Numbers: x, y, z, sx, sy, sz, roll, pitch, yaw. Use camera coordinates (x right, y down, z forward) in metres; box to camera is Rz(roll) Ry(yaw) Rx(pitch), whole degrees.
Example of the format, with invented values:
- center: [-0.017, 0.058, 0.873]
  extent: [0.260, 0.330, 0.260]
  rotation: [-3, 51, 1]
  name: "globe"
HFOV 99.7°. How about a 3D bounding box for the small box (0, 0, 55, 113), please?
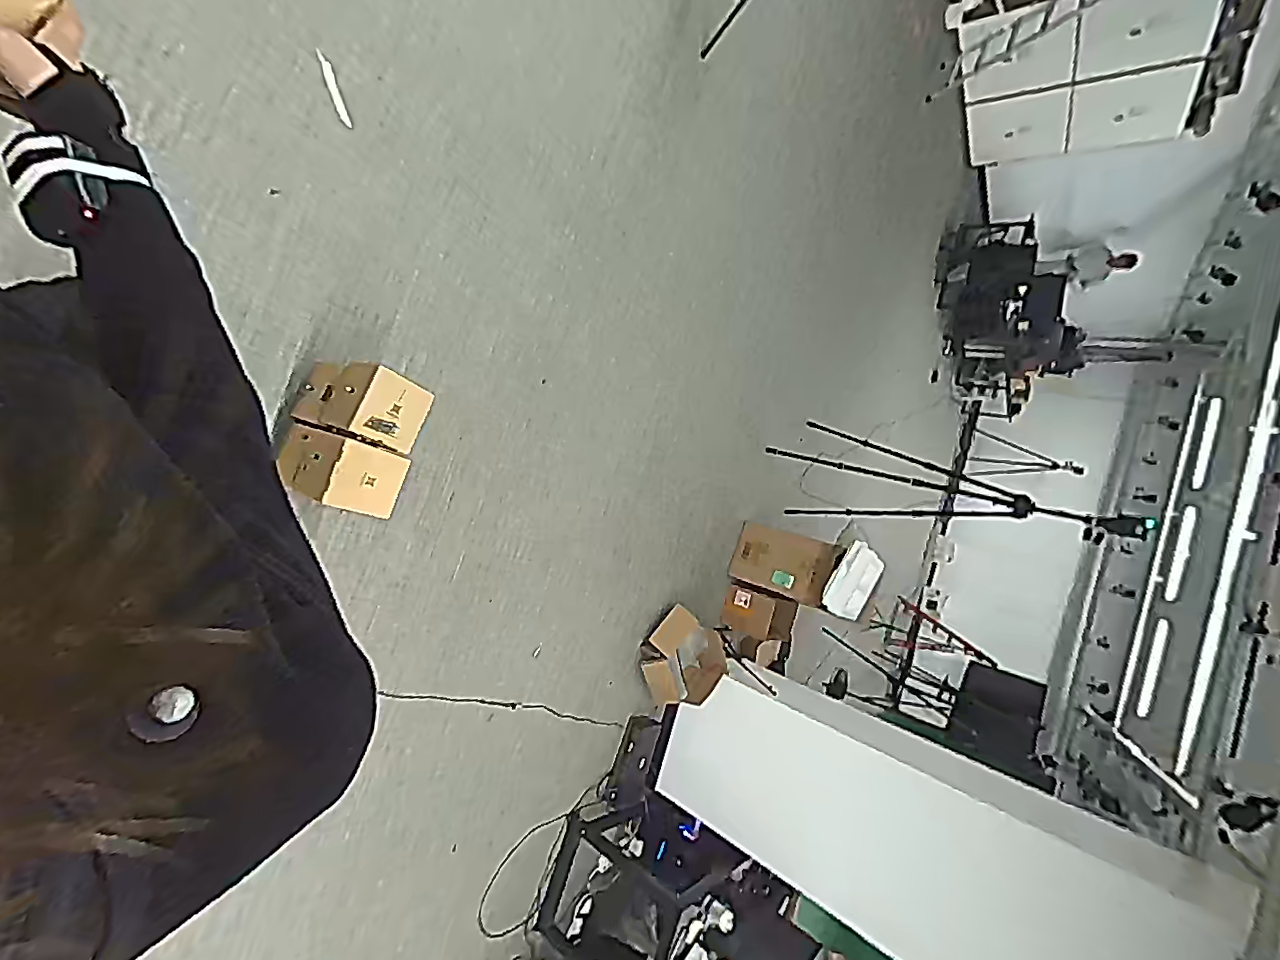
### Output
- center: [-0.594, -0.437, 0.432]
  extent: [0.168, 0.176, 0.179]
  rotation: [10, 98, -52]
  name: "small box"
